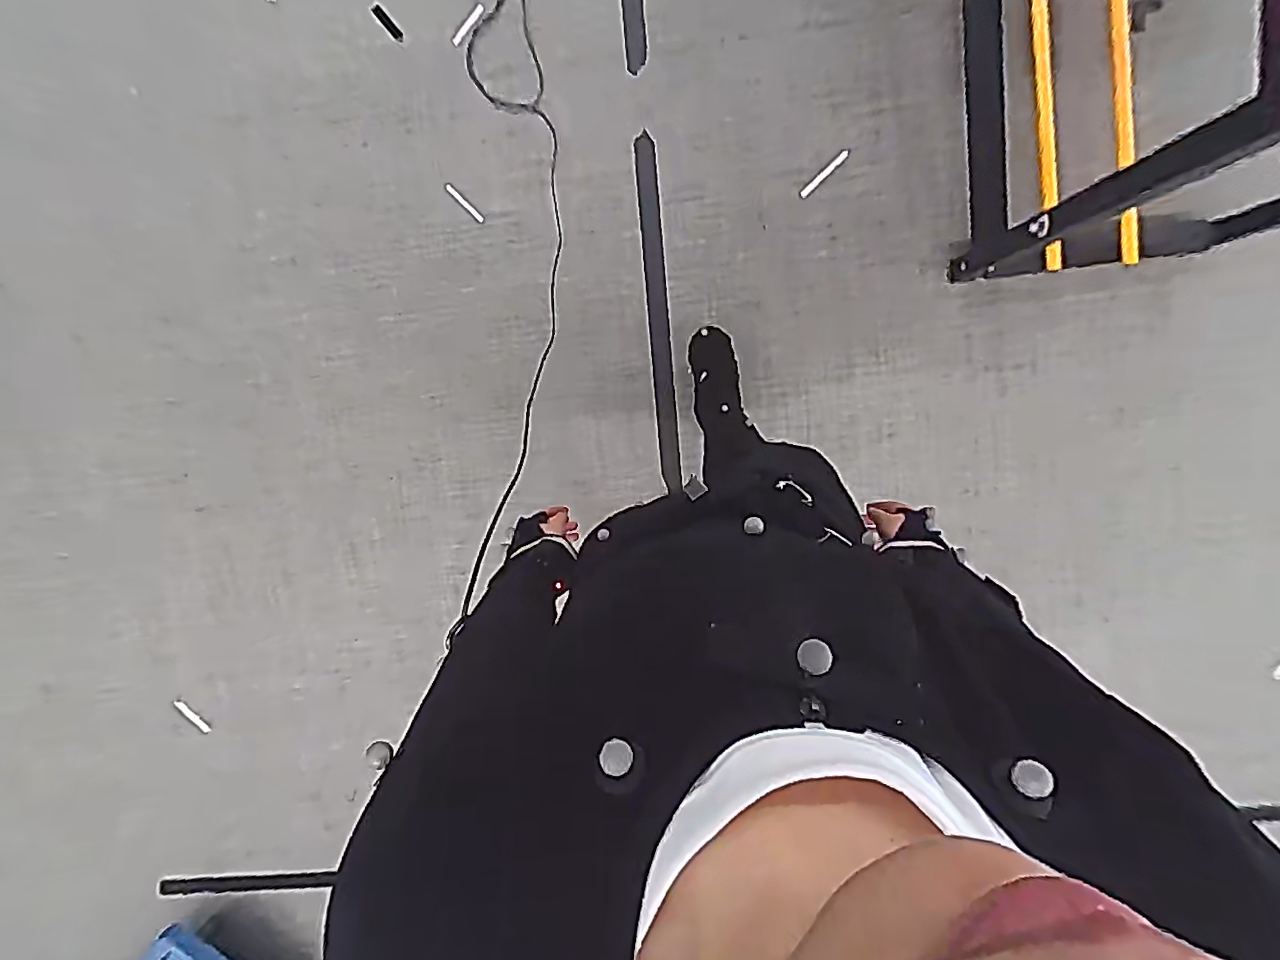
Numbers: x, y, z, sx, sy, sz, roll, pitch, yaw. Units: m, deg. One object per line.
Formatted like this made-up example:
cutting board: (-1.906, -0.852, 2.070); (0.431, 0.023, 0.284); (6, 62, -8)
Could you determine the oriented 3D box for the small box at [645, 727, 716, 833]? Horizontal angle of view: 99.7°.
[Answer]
small box: (0.104, 0.752, 1.365); (0.168, 0.176, 0.179); (-3, 95, 4)
